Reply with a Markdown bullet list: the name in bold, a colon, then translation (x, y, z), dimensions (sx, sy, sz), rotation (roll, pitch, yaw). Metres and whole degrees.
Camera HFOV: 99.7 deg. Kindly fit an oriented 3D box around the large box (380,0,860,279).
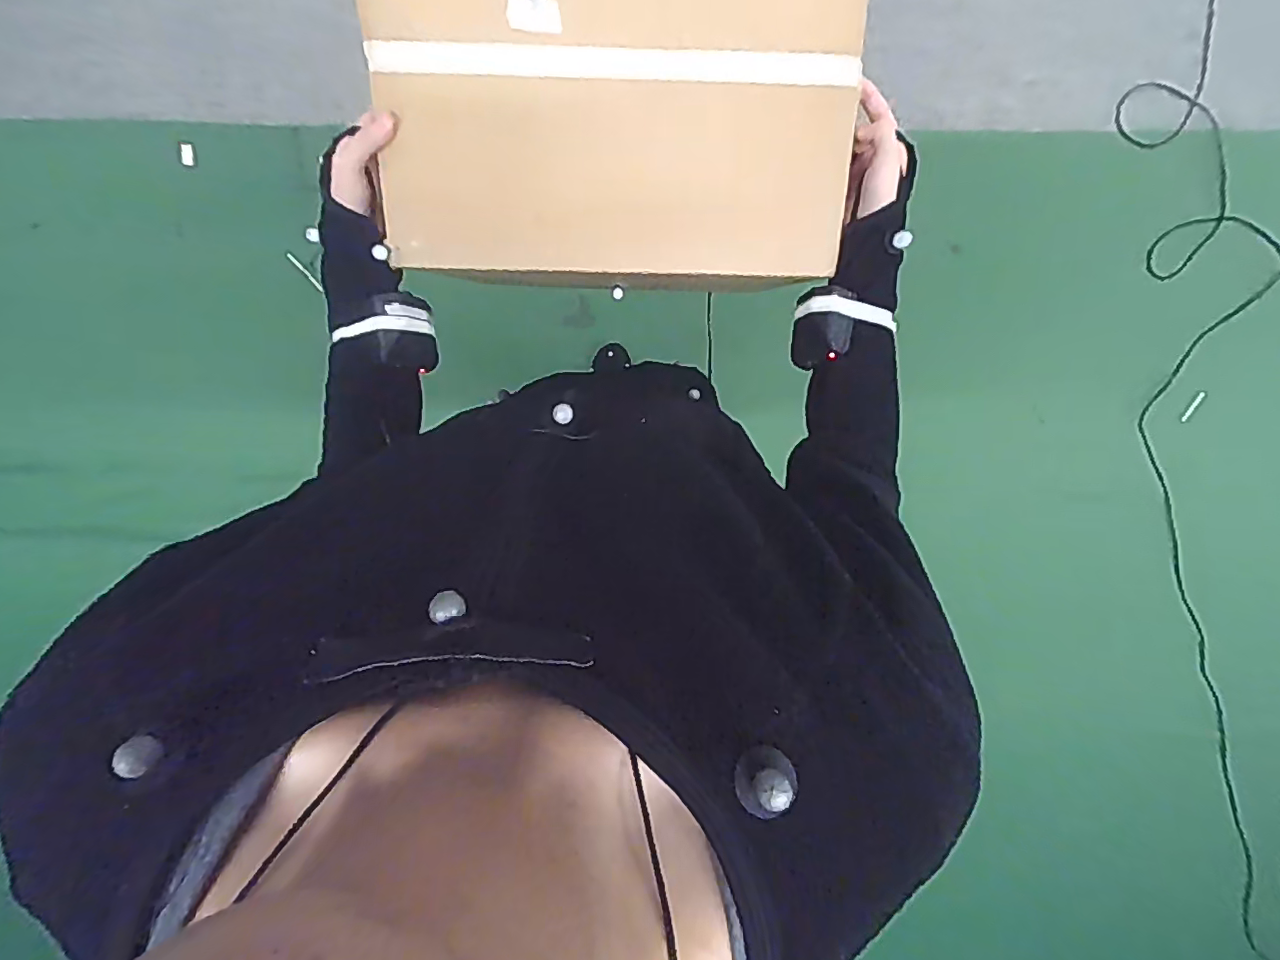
- **large box**: translation (-0.018, -0.392, 0.601), dimensions (0.408, 0.320, 0.320), rotation (1, 107, -1)
